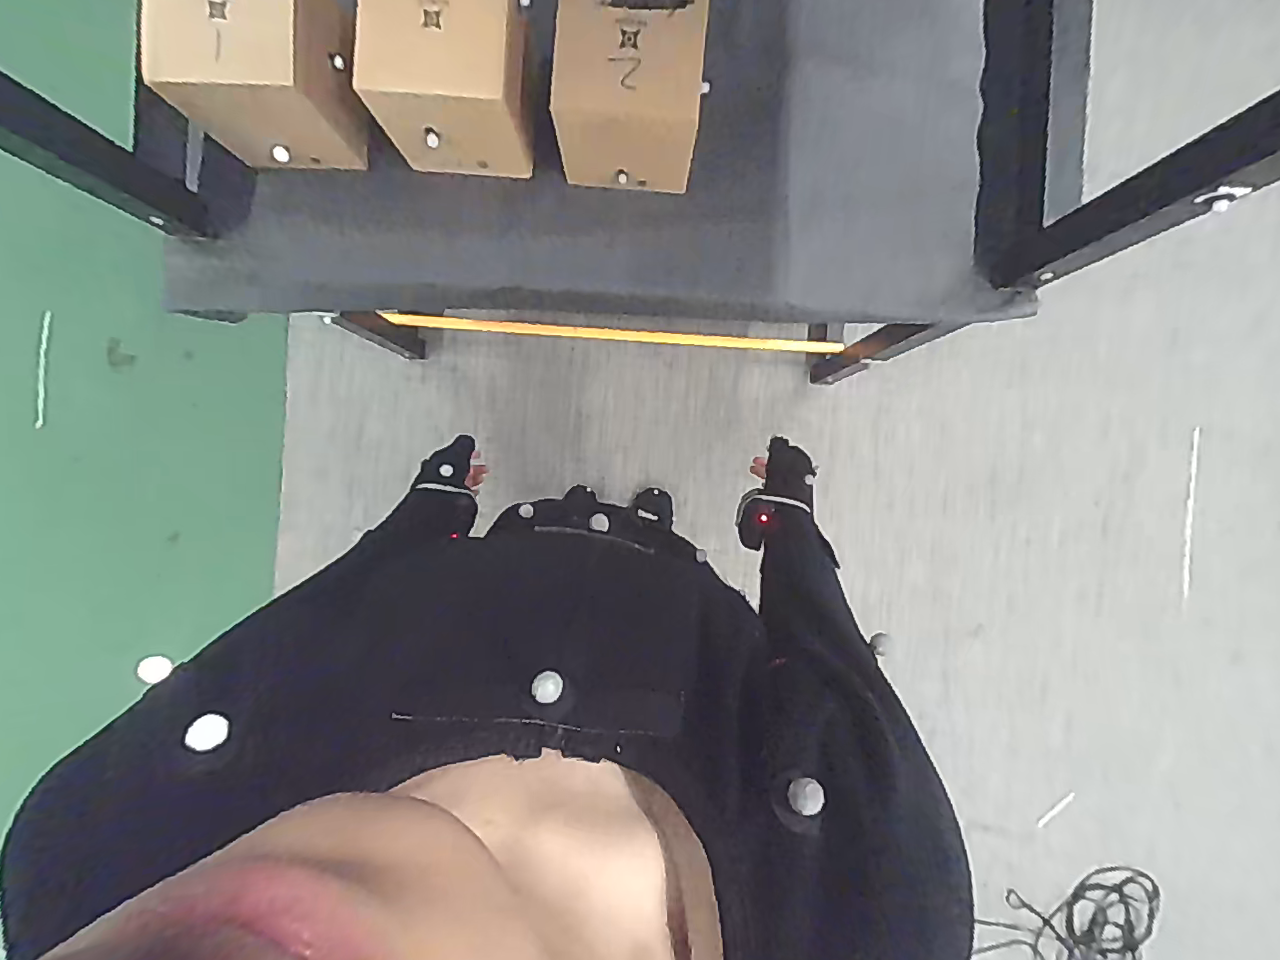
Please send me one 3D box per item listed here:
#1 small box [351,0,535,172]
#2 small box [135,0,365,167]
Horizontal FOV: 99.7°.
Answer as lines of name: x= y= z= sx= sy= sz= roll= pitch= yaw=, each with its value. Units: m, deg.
small box: x=-0.227 y=-0.510 z=0.662 sx=0.168 sy=0.176 sz=0.179 roll=4 pitch=90 yaw=-1
small box: x=-0.453 y=-0.517 z=0.657 sx=0.168 sy=0.176 sz=0.179 roll=1 pitch=91 yaw=-1
